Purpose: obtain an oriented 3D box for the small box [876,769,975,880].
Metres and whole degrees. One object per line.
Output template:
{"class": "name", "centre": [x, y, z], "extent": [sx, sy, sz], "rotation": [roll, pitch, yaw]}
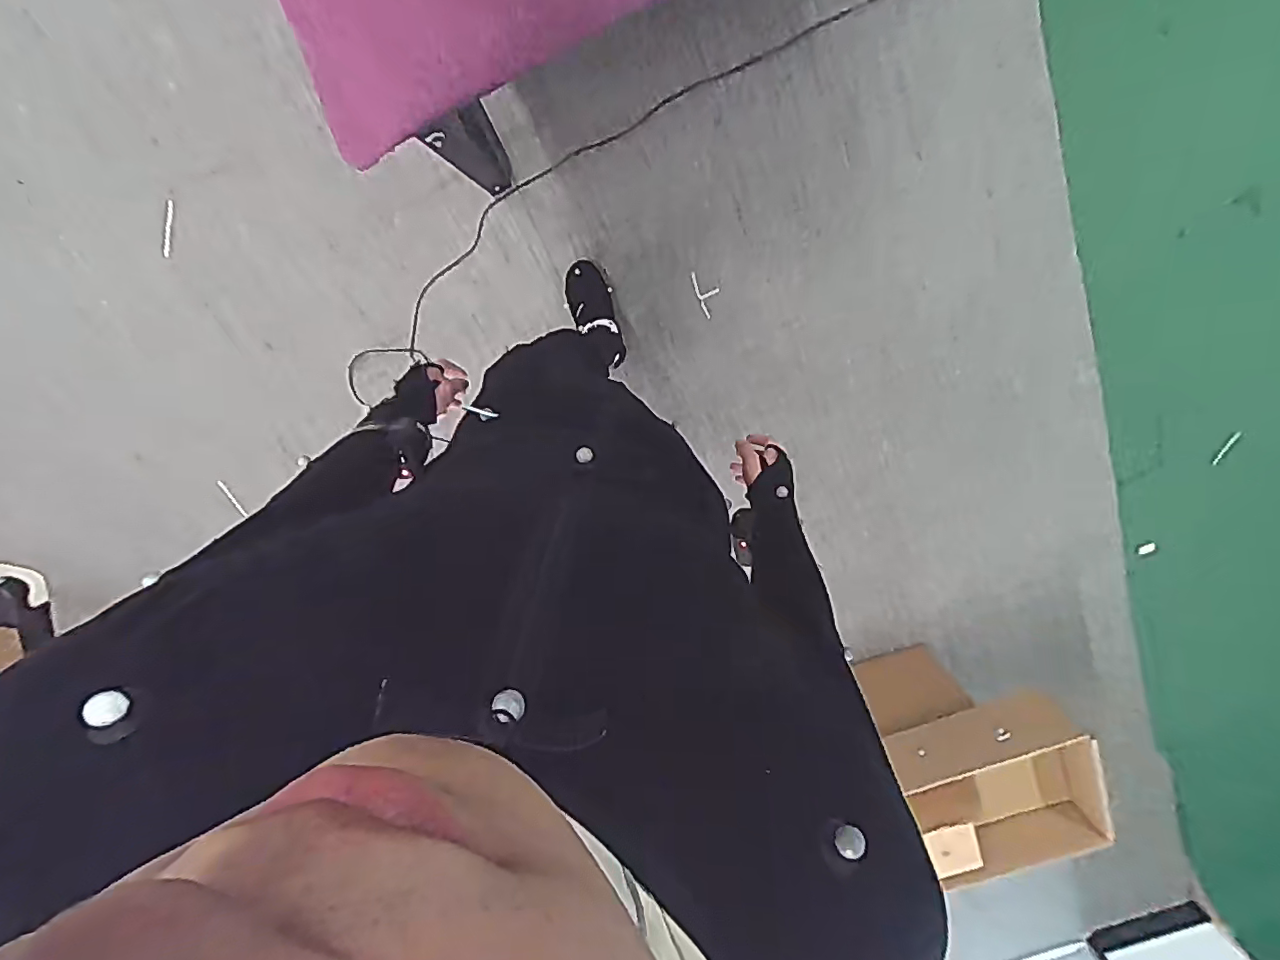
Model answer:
{"class": "small box", "centre": [0.773, 0.935, 1.476], "extent": [0.168, 0.176, 0.179], "rotation": [-21, 107, 6]}
